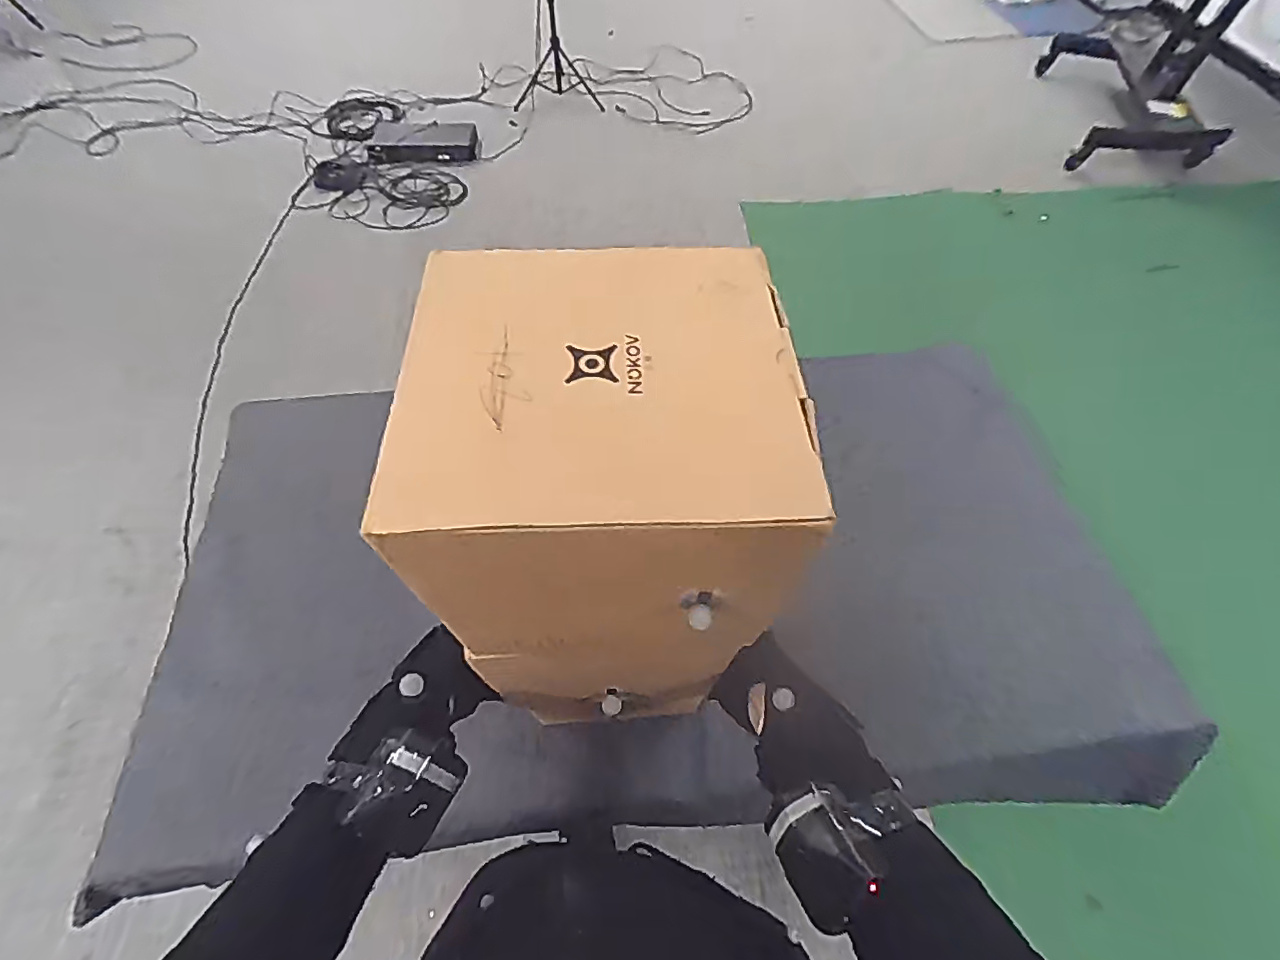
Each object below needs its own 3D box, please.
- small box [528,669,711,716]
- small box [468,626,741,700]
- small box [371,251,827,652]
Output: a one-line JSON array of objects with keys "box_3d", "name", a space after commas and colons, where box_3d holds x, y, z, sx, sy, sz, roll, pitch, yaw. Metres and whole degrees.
[{"box_3d": [-0.028, 0.156, 0.594, 0.179, 0.176, 0.168, -3, 59, -3], "name": "small box"}, {"box_3d": [-0.029, 0.078, 0.450, 0.179, 0.176, 0.168, -2, 57, -4], "name": "small box"}, {"box_3d": [-0.018, -0.007, 0.312, 0.179, 0.176, 0.168, -3, 57, -2], "name": "small box"}]
